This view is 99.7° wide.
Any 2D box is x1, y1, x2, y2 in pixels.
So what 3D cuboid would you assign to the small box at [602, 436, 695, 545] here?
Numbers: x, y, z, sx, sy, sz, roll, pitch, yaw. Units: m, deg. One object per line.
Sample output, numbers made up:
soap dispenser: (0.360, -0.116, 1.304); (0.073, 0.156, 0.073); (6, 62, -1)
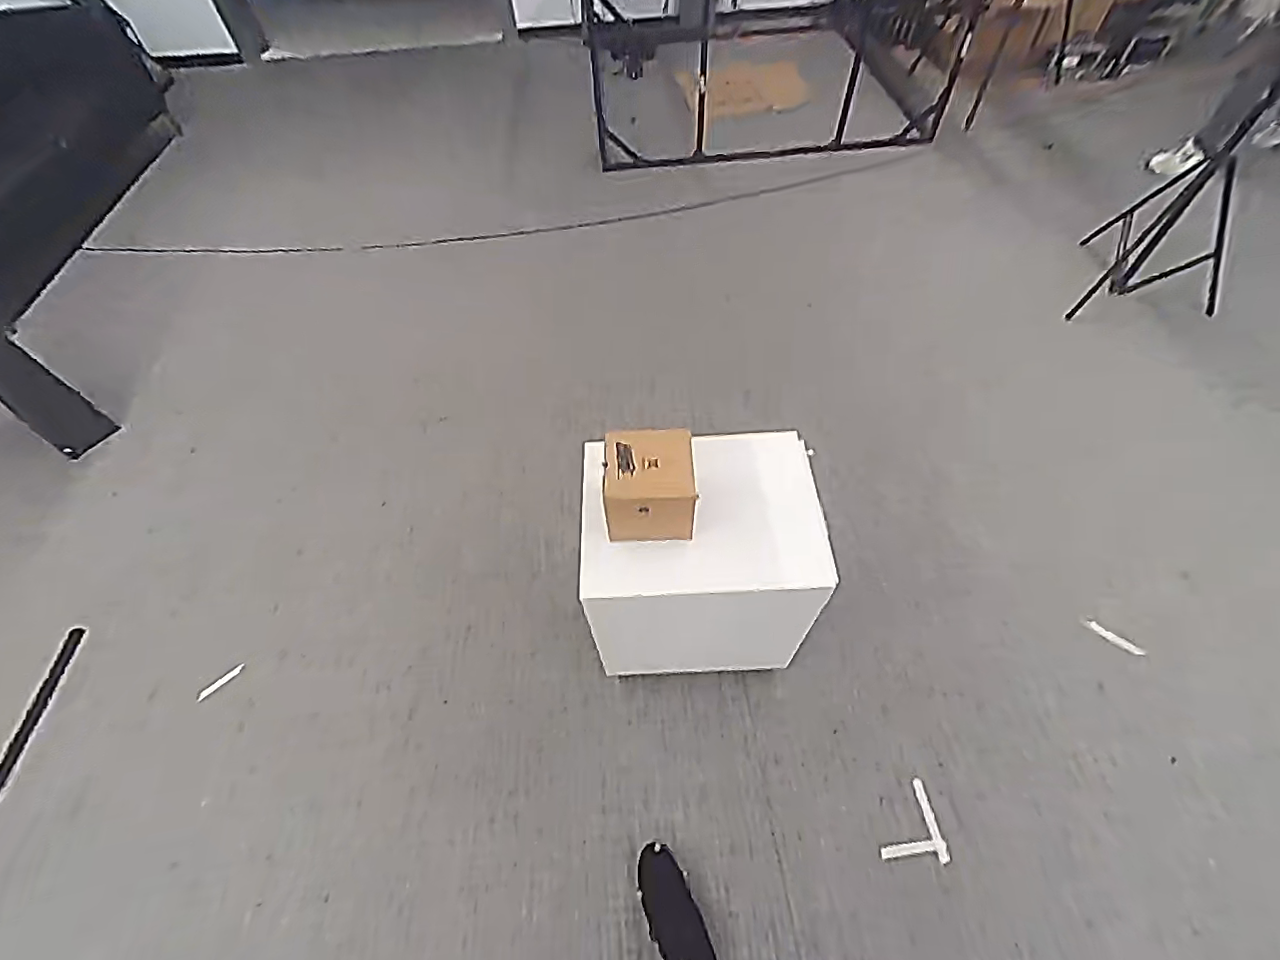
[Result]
small box: (0.019, 0.026, 1.113); (0.179, 0.176, 0.168); (-1, 55, 1)
